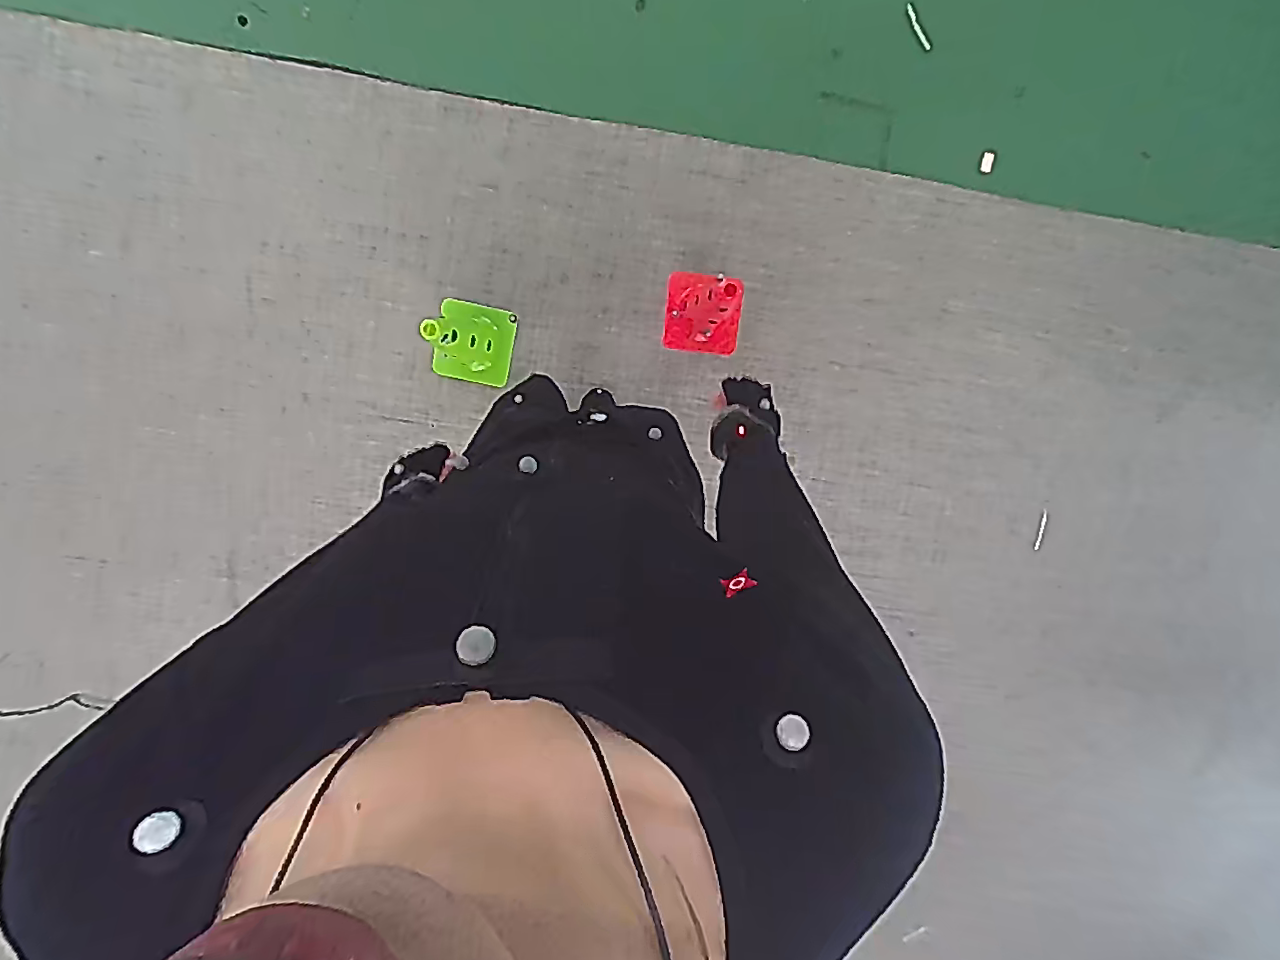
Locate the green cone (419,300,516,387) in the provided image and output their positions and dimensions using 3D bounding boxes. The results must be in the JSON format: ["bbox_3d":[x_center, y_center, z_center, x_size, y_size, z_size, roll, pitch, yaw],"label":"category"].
[{"bbox_3d":[-0.430,-0.327,1.252,0.200,0.368,0.202,10,100,-4],"label":"green cone"}]
